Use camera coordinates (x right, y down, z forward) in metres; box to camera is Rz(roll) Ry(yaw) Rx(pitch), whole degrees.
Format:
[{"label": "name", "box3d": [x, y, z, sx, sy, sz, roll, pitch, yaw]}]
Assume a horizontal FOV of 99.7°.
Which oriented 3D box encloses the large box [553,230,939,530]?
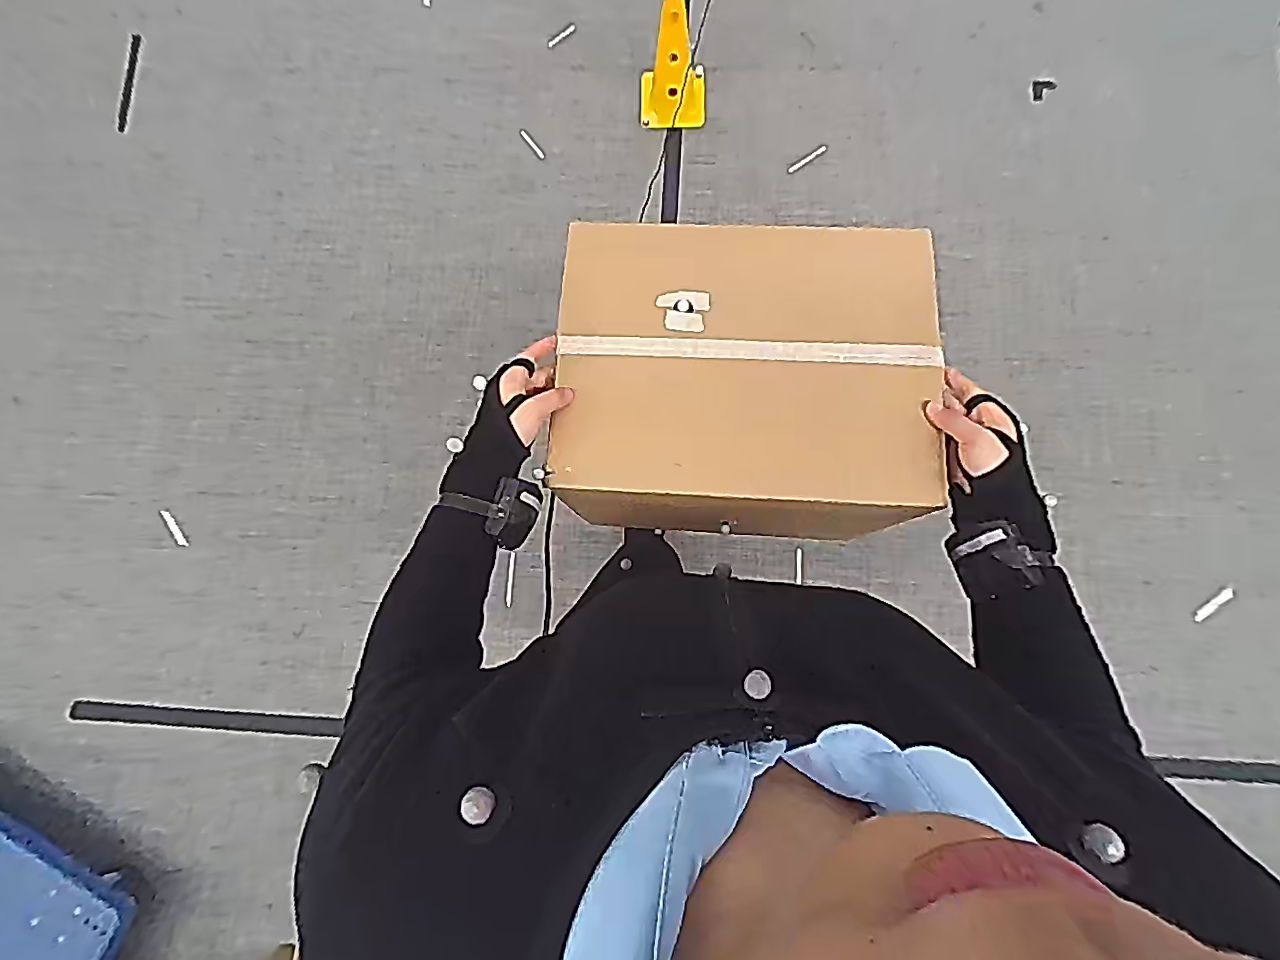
[{"label": "large box", "box3d": [0.122, -0.104, 0.735, 0.408, 0.320, 0.320, 2, 76, 4]}]
